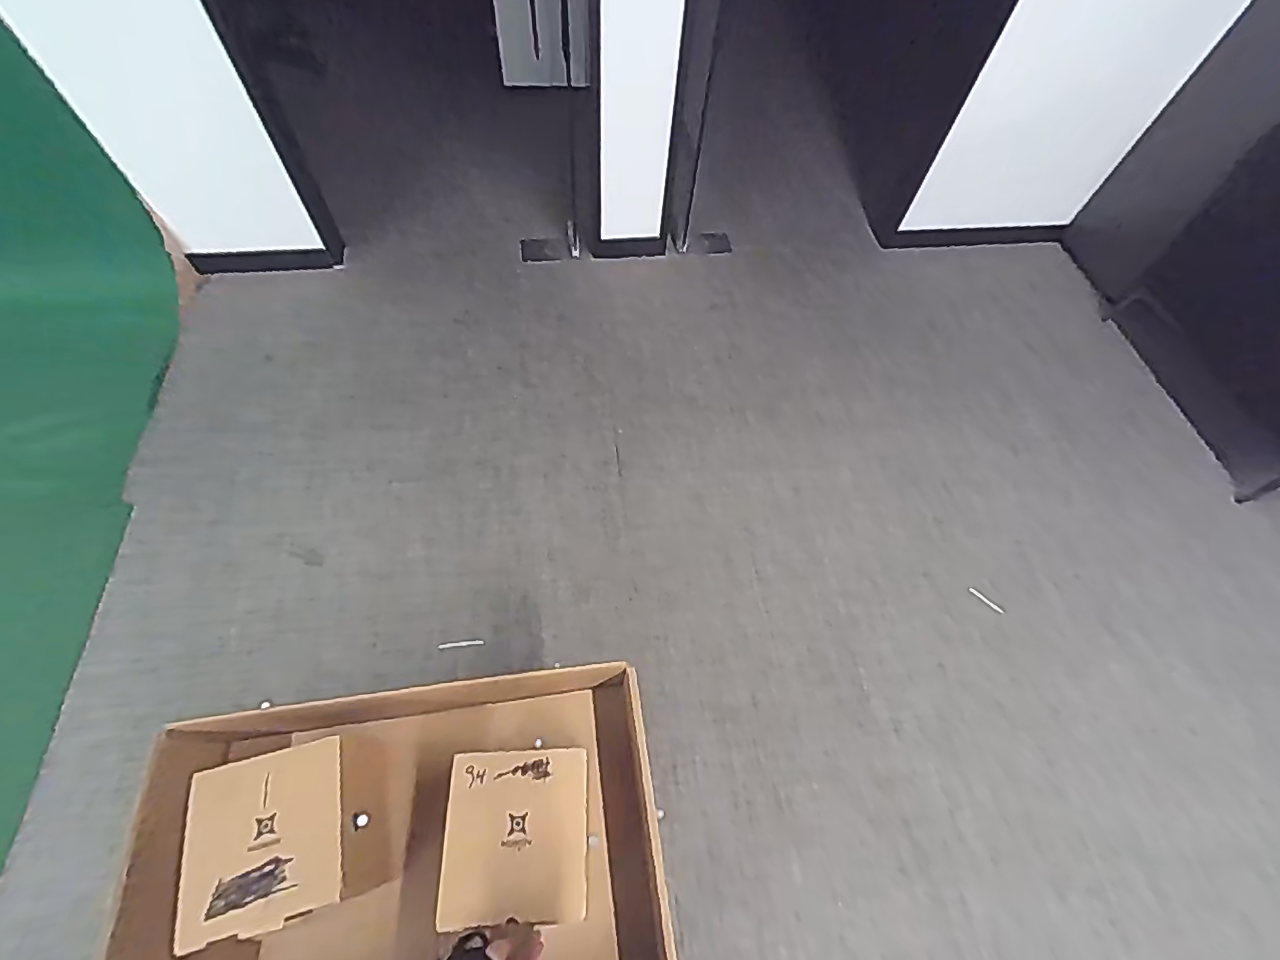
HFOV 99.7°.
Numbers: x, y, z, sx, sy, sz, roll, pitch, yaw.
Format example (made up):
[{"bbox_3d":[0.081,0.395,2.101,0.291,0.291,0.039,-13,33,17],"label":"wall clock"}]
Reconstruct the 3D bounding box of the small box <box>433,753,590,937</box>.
[{"bbox_3d":[-0.150,0.455,0.697,0.168,0.176,0.179,0,60,-4],"label":"small box"}]
